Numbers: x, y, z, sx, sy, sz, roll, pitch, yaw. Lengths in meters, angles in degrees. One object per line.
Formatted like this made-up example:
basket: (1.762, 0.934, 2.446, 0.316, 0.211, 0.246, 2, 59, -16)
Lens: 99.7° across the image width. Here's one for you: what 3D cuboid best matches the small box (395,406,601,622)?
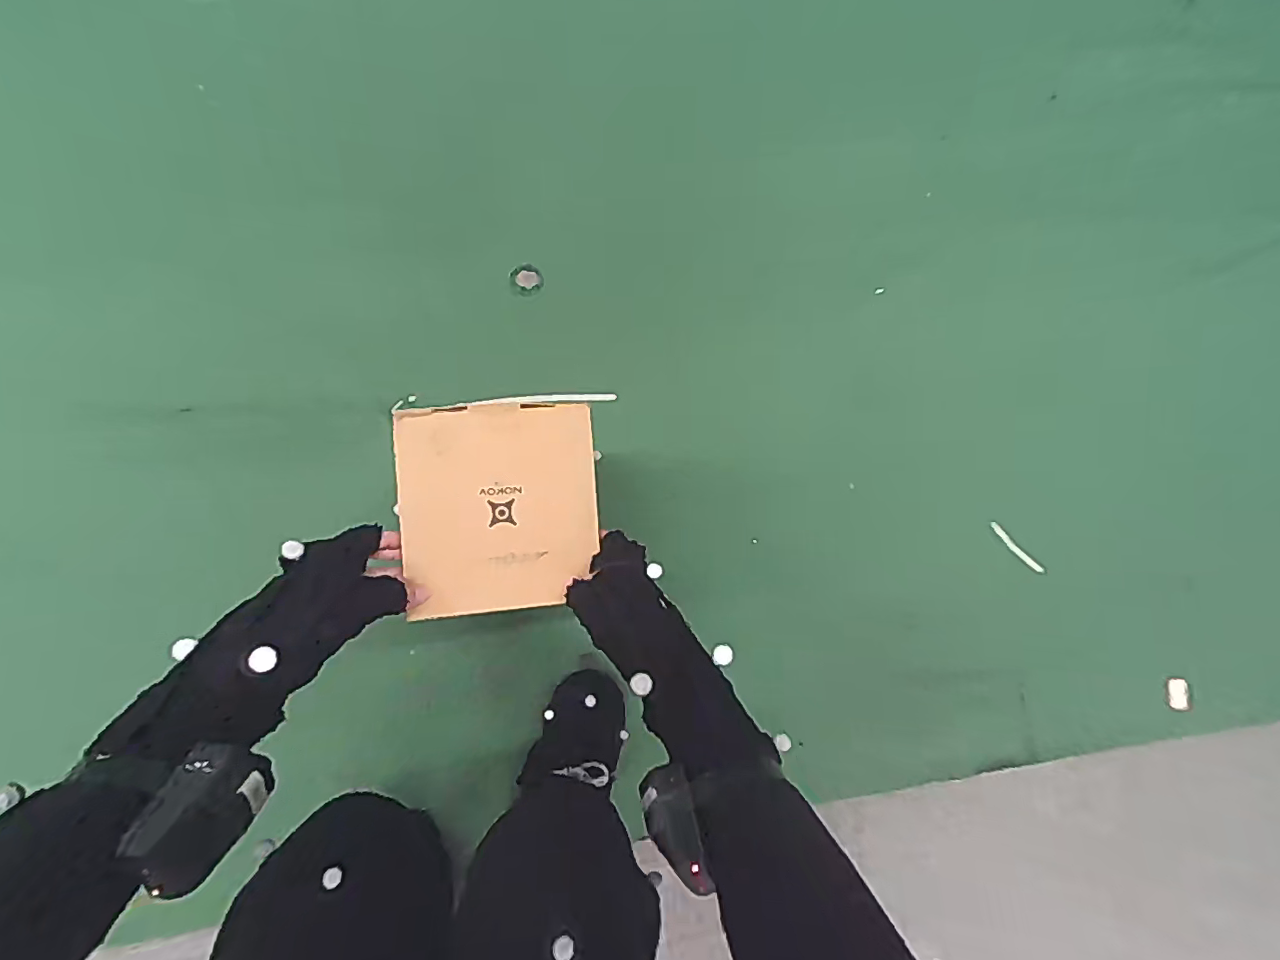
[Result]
small box: (-0.130, 0.029, 0.528, 0.168, 0.176, 0.179, -3, 89, -9)
